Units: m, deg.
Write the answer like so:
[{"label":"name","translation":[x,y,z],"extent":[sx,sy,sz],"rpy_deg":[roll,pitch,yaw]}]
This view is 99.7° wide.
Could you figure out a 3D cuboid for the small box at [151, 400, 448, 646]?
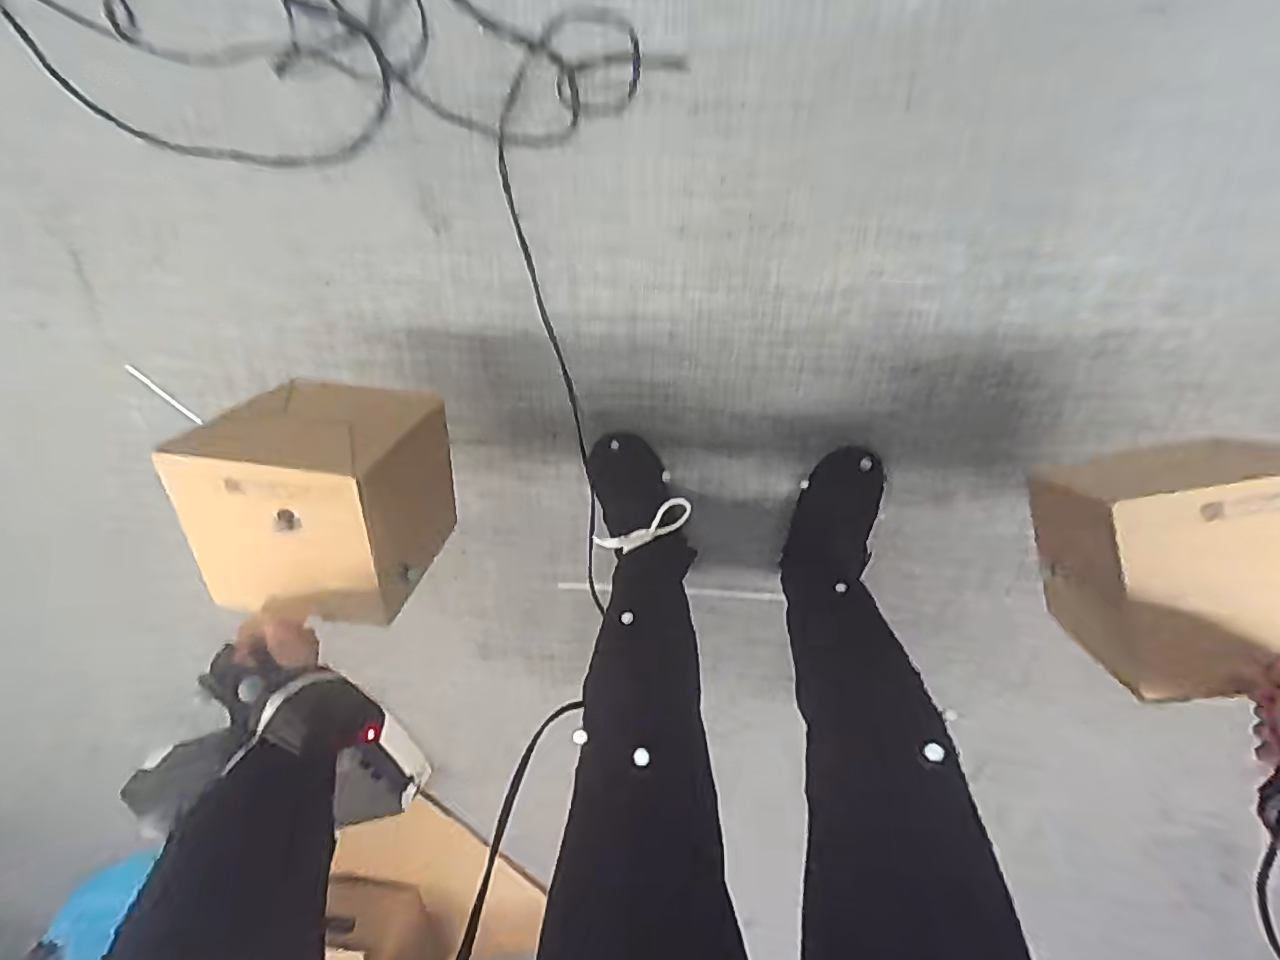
[{"label":"small box","translation":[-0.300,0.027,0.521],"extent":[0.168,0.179,0.176],"rpy_deg":[7,119,1]}]
